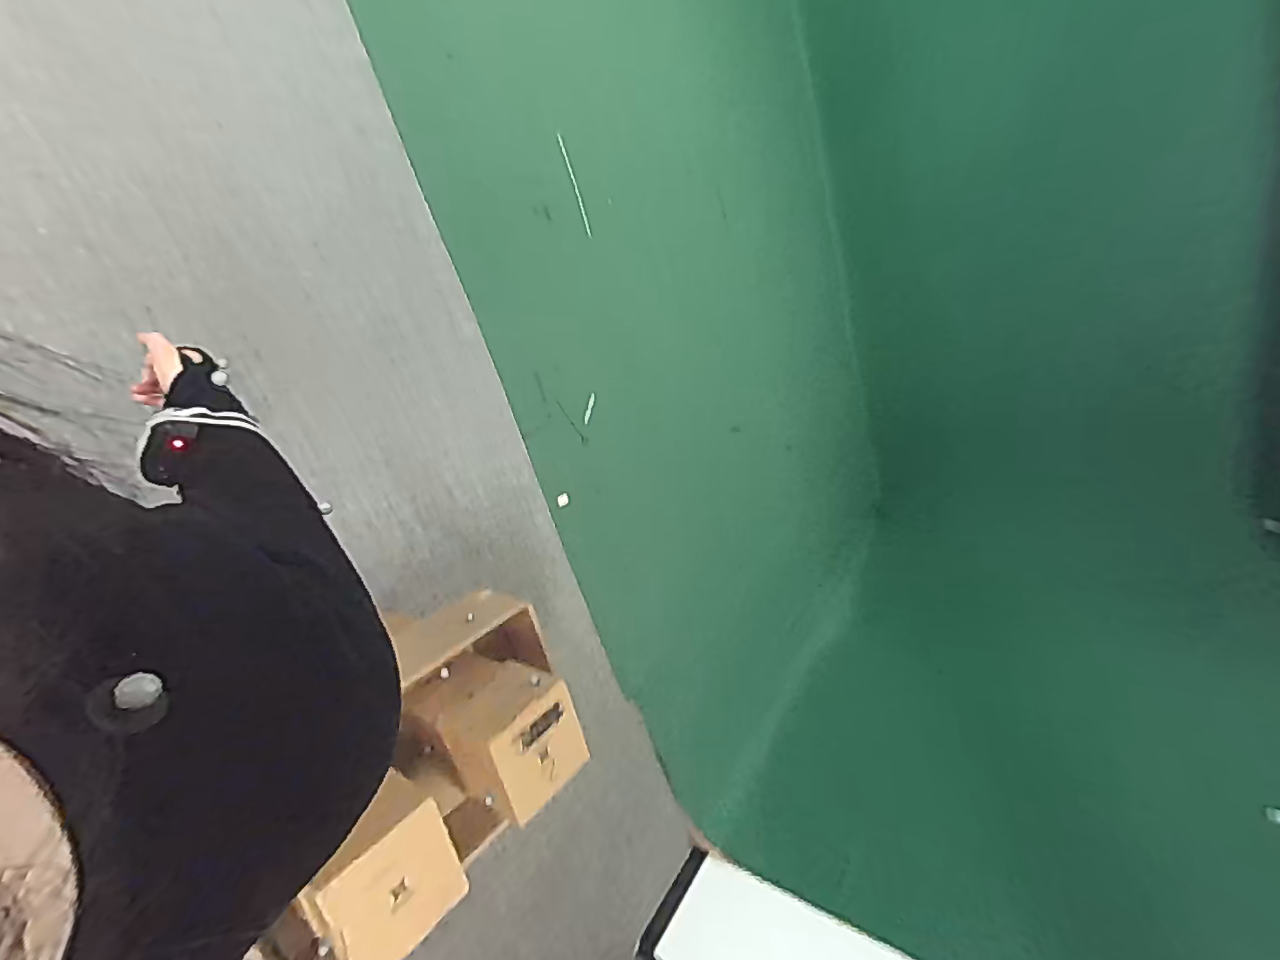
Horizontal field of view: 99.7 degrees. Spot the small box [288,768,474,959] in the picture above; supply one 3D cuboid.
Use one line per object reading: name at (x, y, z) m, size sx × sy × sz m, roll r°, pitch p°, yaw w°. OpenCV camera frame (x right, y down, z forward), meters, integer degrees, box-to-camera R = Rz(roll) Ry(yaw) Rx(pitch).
small box at (-0.380, 0.566, 0.794) m, size 0.168 × 0.176 × 0.179 m, roll -27°, pitch 107°, yaw -45°
